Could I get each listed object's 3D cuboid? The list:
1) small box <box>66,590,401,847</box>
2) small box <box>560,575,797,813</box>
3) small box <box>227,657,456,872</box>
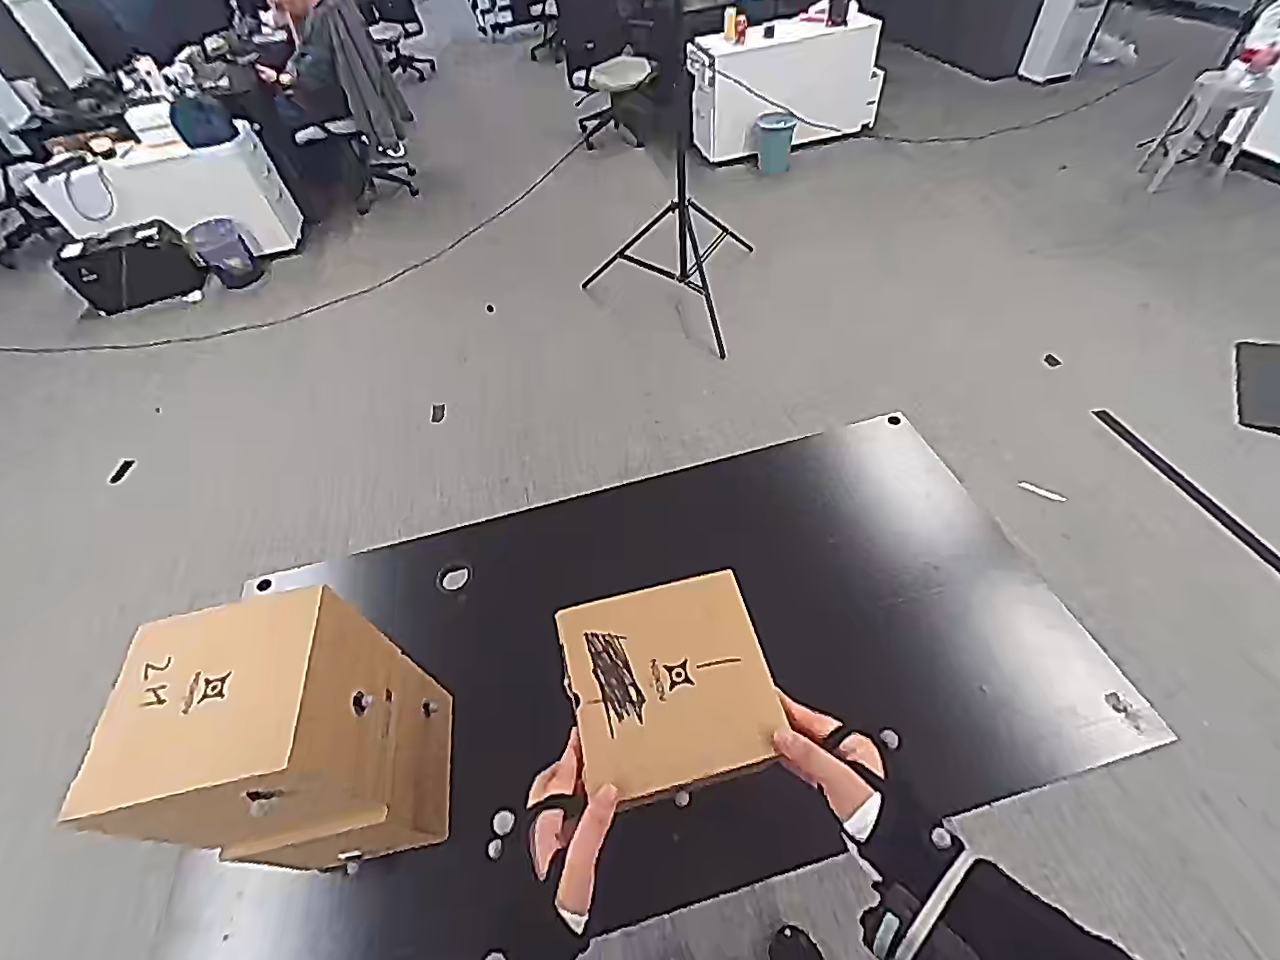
[{"bbox_3d":[-0.352,0.232,0.519,0.179,0.176,0.168,-13,50,-2],"label":"small box"},{"bbox_3d":[0.028,0.218,0.538,0.179,0.176,0.168,-12,58,-8],"label":"small box"},{"bbox_3d":[-0.330,0.339,0.642,0.168,0.176,0.179,-13,51,-2],"label":"small box"}]
